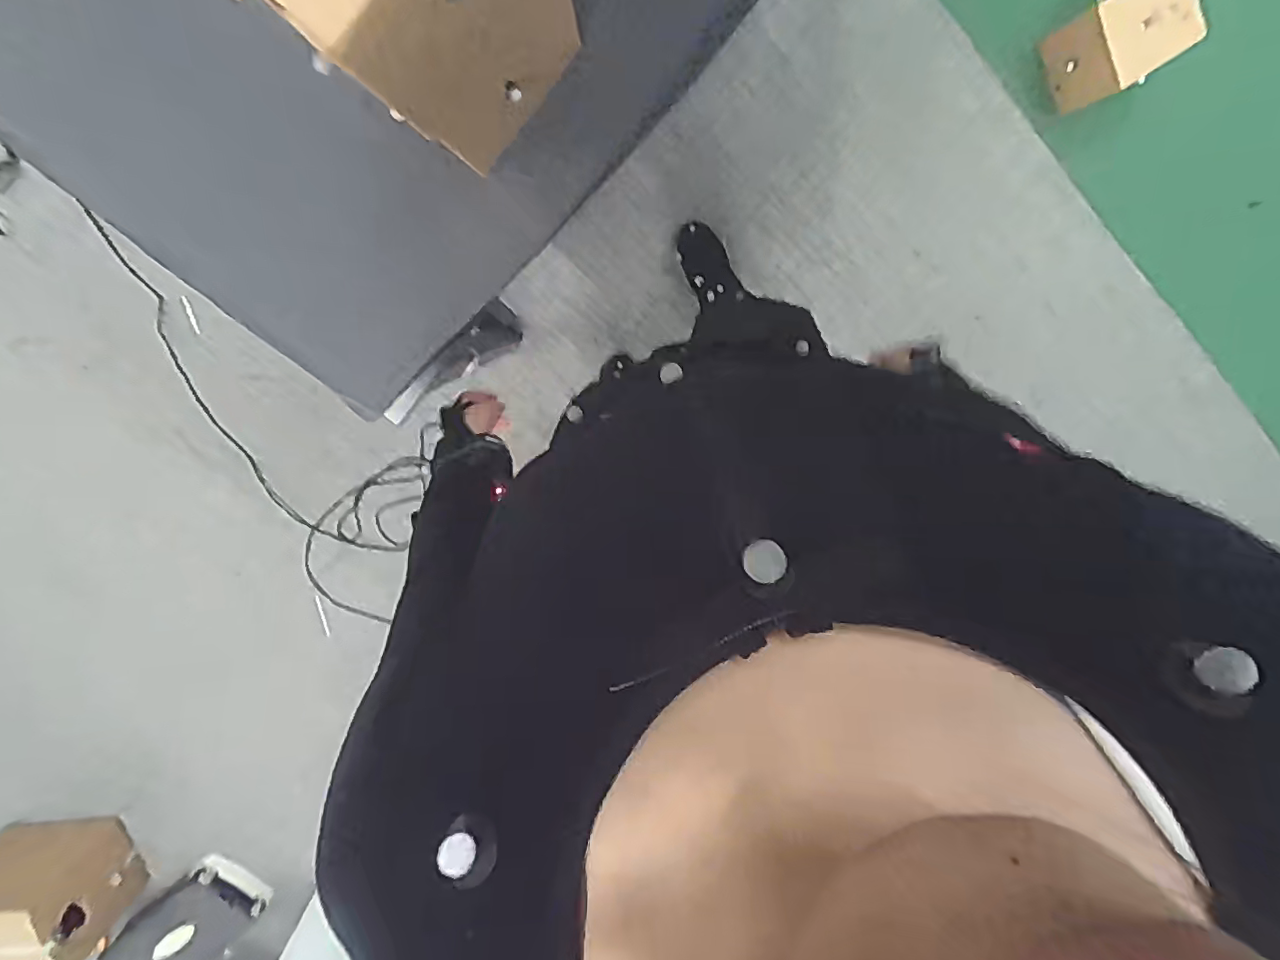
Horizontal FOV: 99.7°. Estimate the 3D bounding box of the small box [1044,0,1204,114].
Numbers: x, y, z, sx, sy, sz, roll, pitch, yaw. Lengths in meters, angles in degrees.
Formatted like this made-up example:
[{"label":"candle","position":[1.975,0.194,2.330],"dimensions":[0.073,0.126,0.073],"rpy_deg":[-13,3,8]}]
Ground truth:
[{"label":"small box","position":[0.993,-0.911,1.129],"dimensions":[0.179,0.176,0.168],"rpy_deg":[-31,107,9]}]
